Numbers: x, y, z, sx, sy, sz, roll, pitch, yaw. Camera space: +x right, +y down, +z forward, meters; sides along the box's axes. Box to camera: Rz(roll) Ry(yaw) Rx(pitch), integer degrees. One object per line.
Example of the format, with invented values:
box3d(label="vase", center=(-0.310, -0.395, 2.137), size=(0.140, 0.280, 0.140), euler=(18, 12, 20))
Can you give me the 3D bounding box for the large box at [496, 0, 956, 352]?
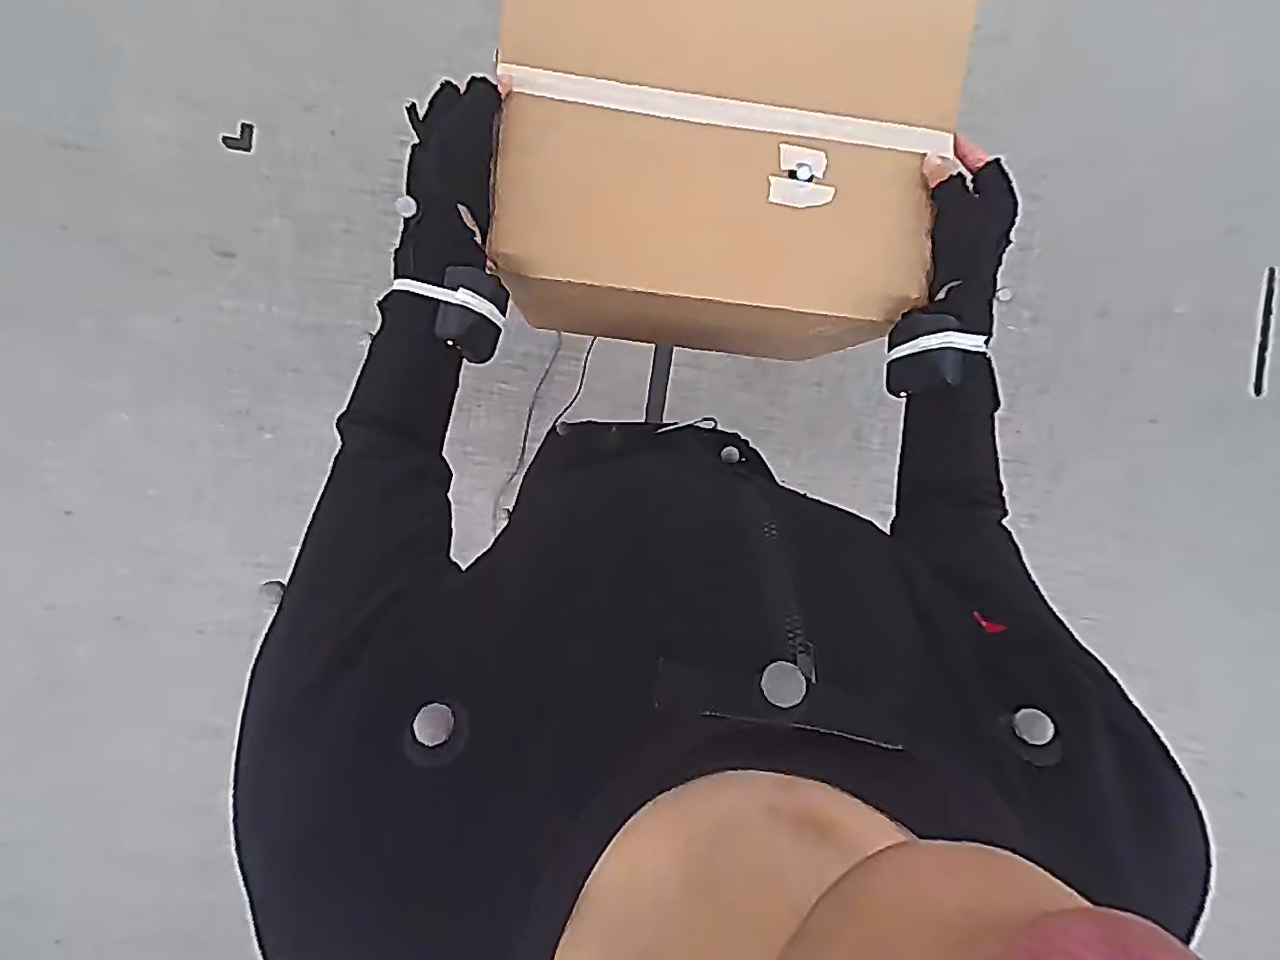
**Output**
box3d(label="large box", center=(0.066, -0.342, 0.634), size=(0.408, 0.320, 0.320), euler=(6, 97, -5))
